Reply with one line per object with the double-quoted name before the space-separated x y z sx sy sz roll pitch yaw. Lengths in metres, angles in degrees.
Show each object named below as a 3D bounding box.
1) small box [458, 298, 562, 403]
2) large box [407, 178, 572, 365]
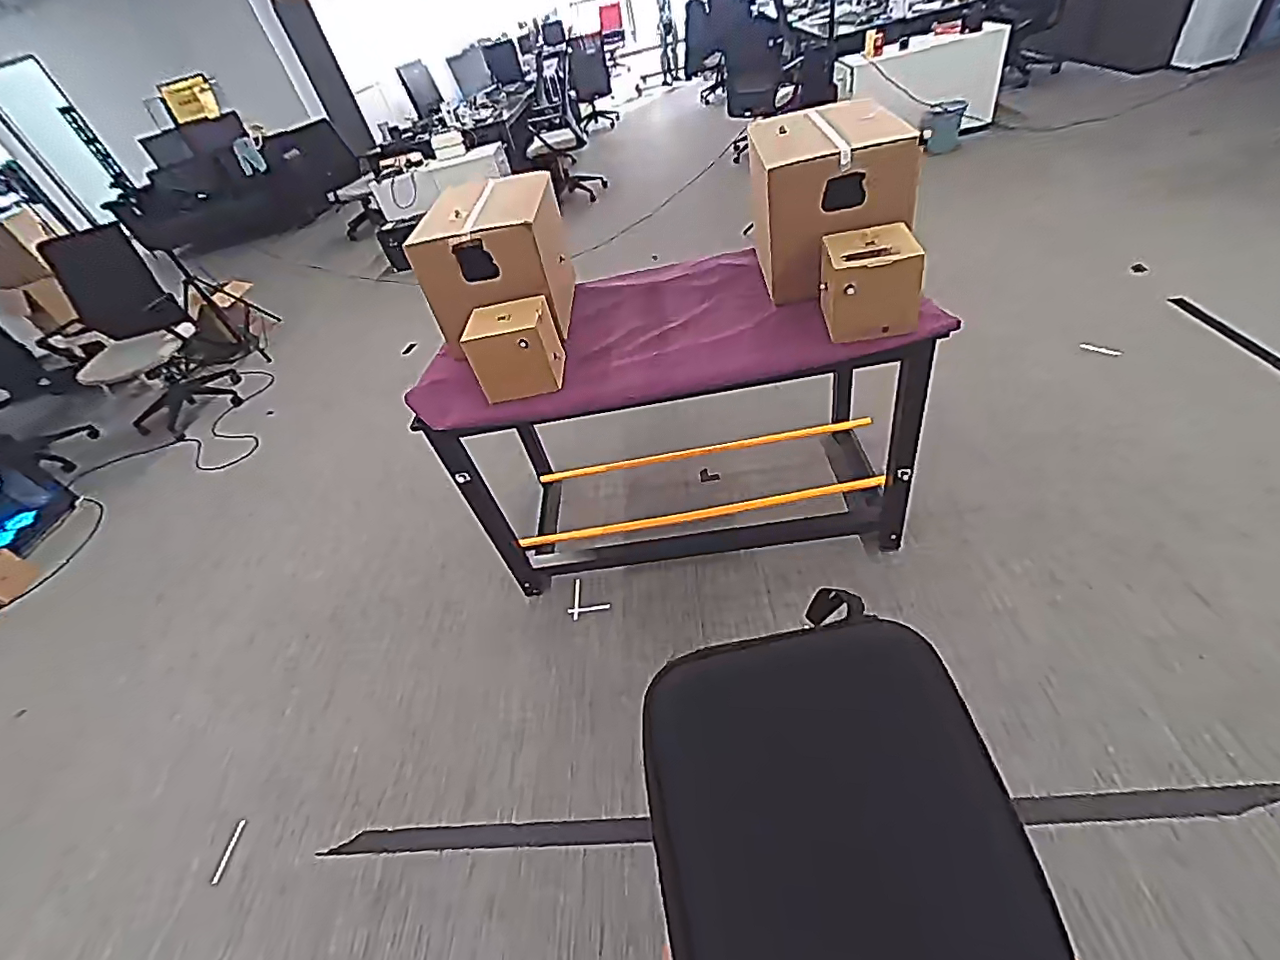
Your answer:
"small box" -0.296 -0.299 1.267 0.179 0.176 0.168 -10 42 5
"large box" -0.374 -0.571 1.471 0.320 0.320 0.408 -9 45 6
